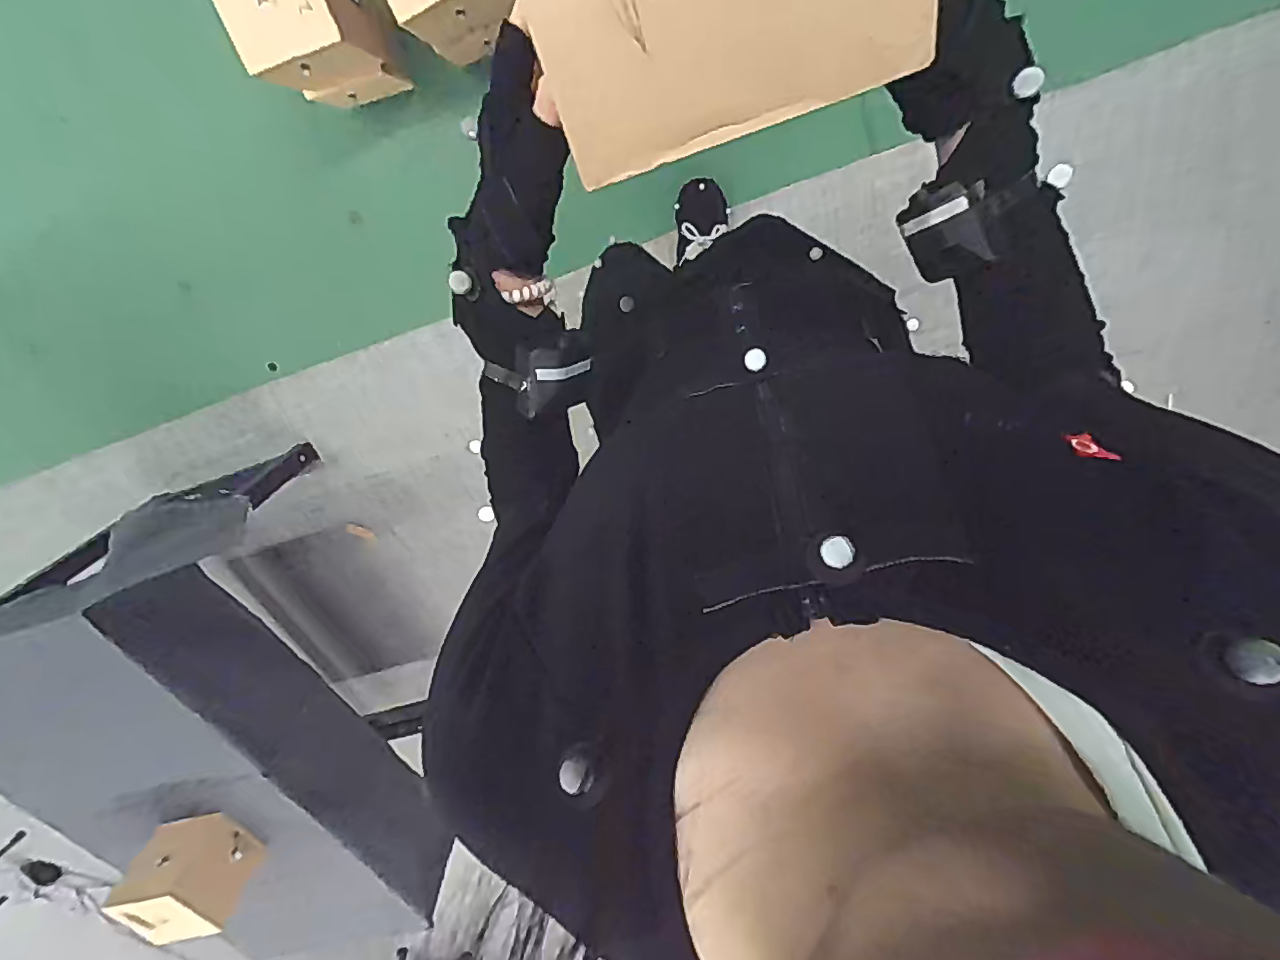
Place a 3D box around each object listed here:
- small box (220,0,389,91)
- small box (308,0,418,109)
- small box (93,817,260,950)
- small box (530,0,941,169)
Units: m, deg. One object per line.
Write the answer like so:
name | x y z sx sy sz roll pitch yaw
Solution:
small box | -0.566 -0.787 0.912 0.179 0.176 0.168 -12 117 8
small box | -0.569 -0.855 1.064 0.168 0.176 0.179 -12 117 8
small box | -0.985 0.868 1.168 0.179 0.176 0.168 -16 117 9
small box | 0.026 -0.288 0.265 0.179 0.176 0.168 -15 132 8
